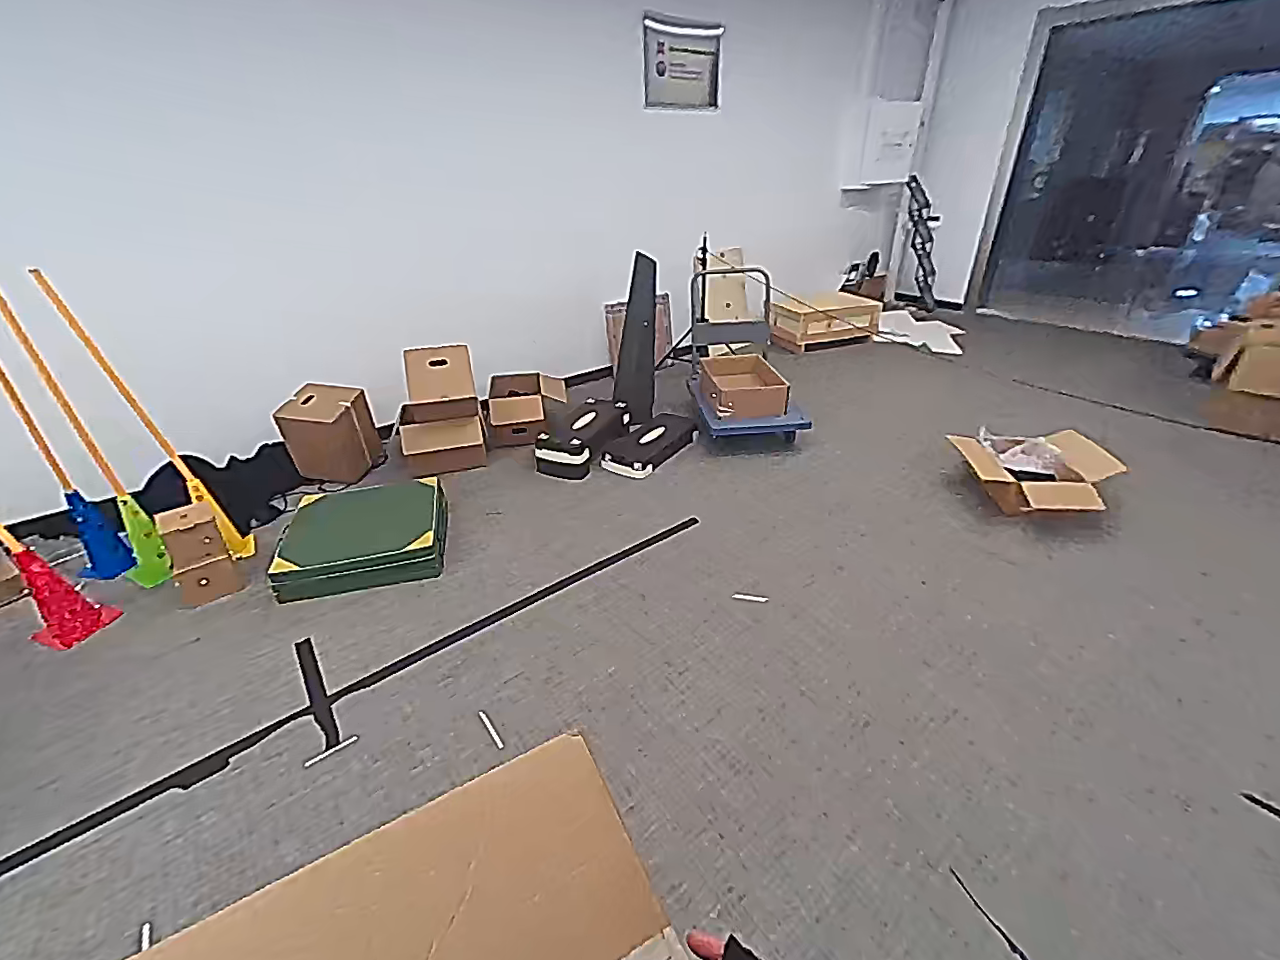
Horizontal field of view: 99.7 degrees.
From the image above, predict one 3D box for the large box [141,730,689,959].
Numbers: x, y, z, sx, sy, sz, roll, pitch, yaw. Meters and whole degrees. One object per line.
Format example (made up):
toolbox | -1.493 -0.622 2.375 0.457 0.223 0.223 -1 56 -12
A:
large box | -0.153 0.469 0.375 0.408 0.320 0.320 -19 47 -22
